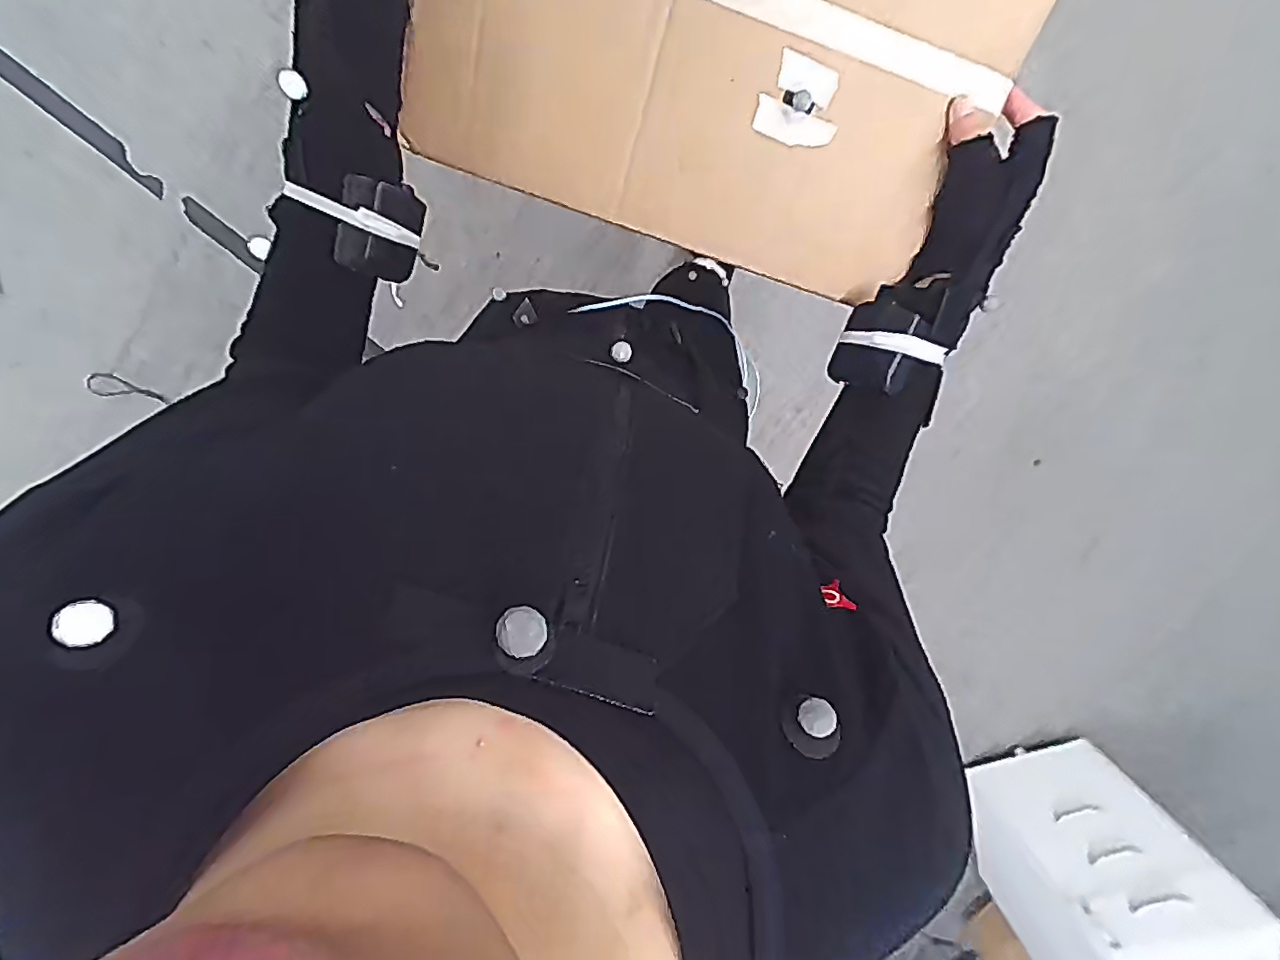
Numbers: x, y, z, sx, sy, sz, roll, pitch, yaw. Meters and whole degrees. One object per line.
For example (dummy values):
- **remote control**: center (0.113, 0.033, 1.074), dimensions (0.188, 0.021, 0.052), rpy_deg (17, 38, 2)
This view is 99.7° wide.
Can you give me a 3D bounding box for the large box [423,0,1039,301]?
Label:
- **large box**: center (0.064, -0.400, 0.500), dimensions (0.408, 0.320, 0.320), rpy_deg (16, 118, -8)
